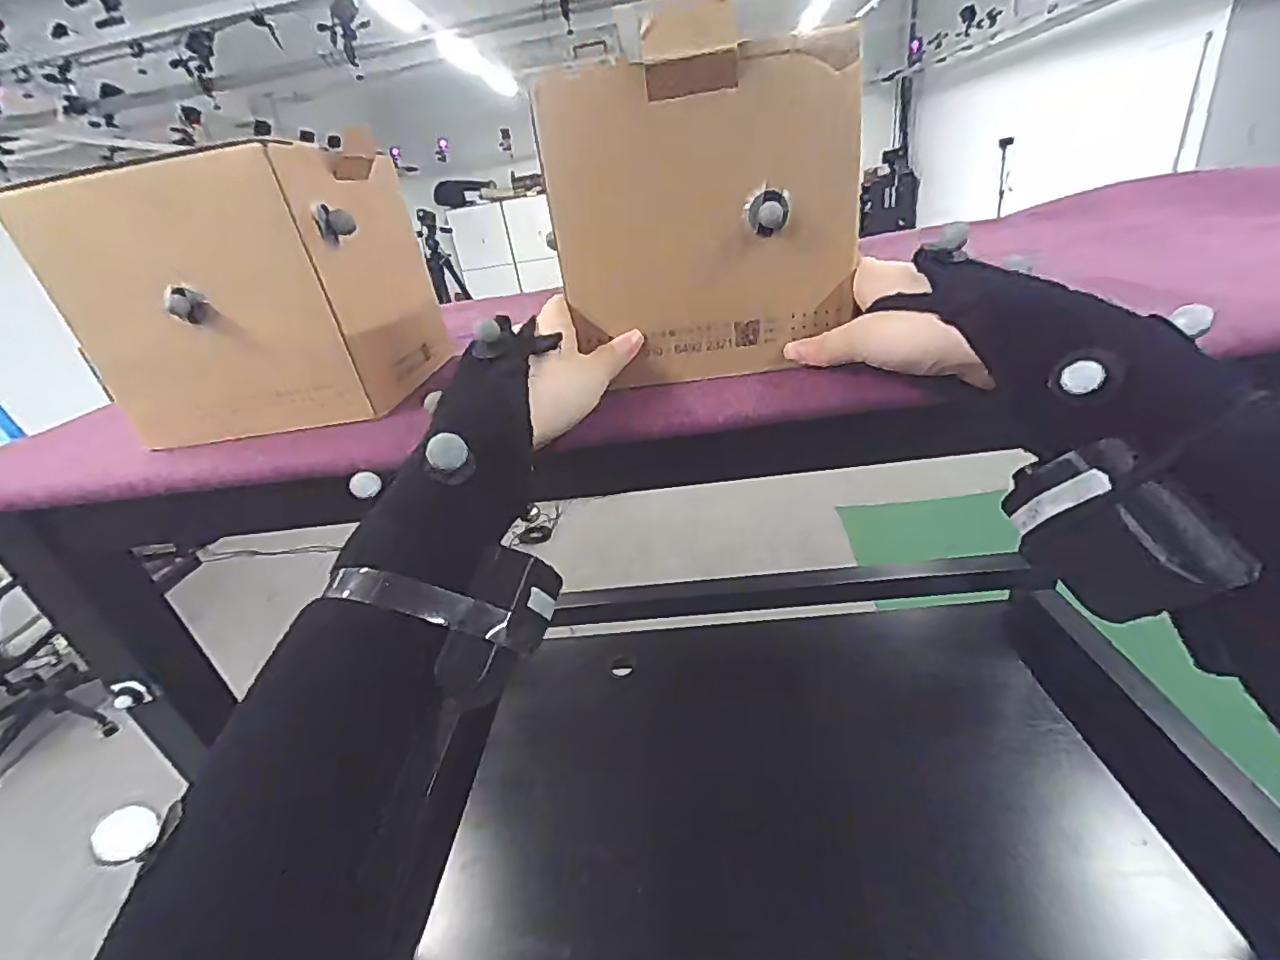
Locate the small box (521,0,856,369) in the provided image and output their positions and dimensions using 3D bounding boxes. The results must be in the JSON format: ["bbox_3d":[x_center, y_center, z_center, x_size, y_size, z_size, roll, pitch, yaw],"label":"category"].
[{"bbox_3d":[0.038,-0.177,0.364,0.168,0.176,0.179,-4,27,7],"label":"small box"}]
